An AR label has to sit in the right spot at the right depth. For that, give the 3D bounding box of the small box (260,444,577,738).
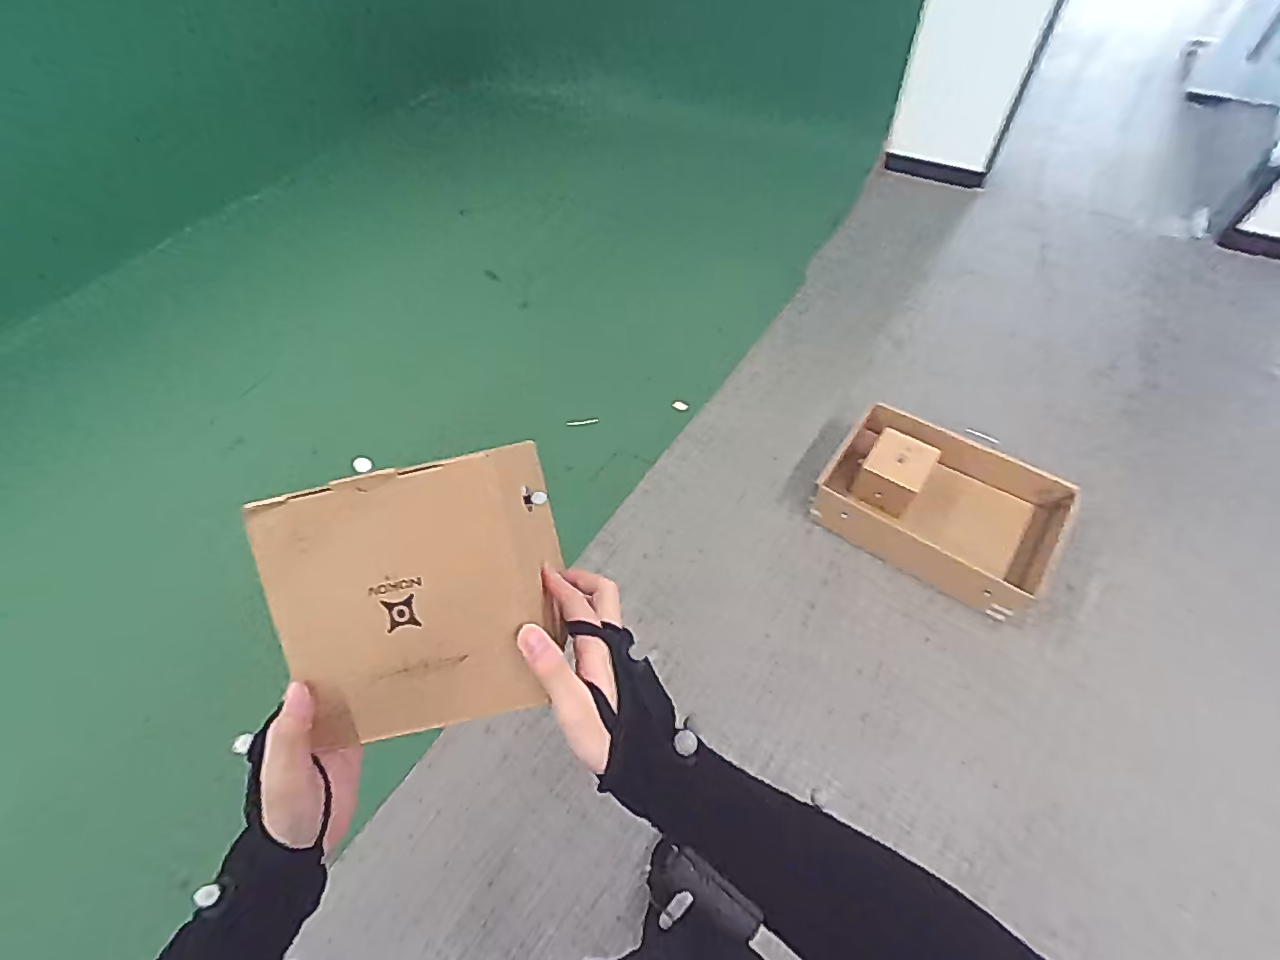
[{"bbox_3d":[-0.152,0.069,0.435,0.168,0.176,0.179,-11,96,1],"label":"small box"}]

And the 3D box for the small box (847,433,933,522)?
[{"bbox_3d":[0.753,-0.003,1.647,0.168,0.176,0.179,31,64,22],"label":"small box"}]
